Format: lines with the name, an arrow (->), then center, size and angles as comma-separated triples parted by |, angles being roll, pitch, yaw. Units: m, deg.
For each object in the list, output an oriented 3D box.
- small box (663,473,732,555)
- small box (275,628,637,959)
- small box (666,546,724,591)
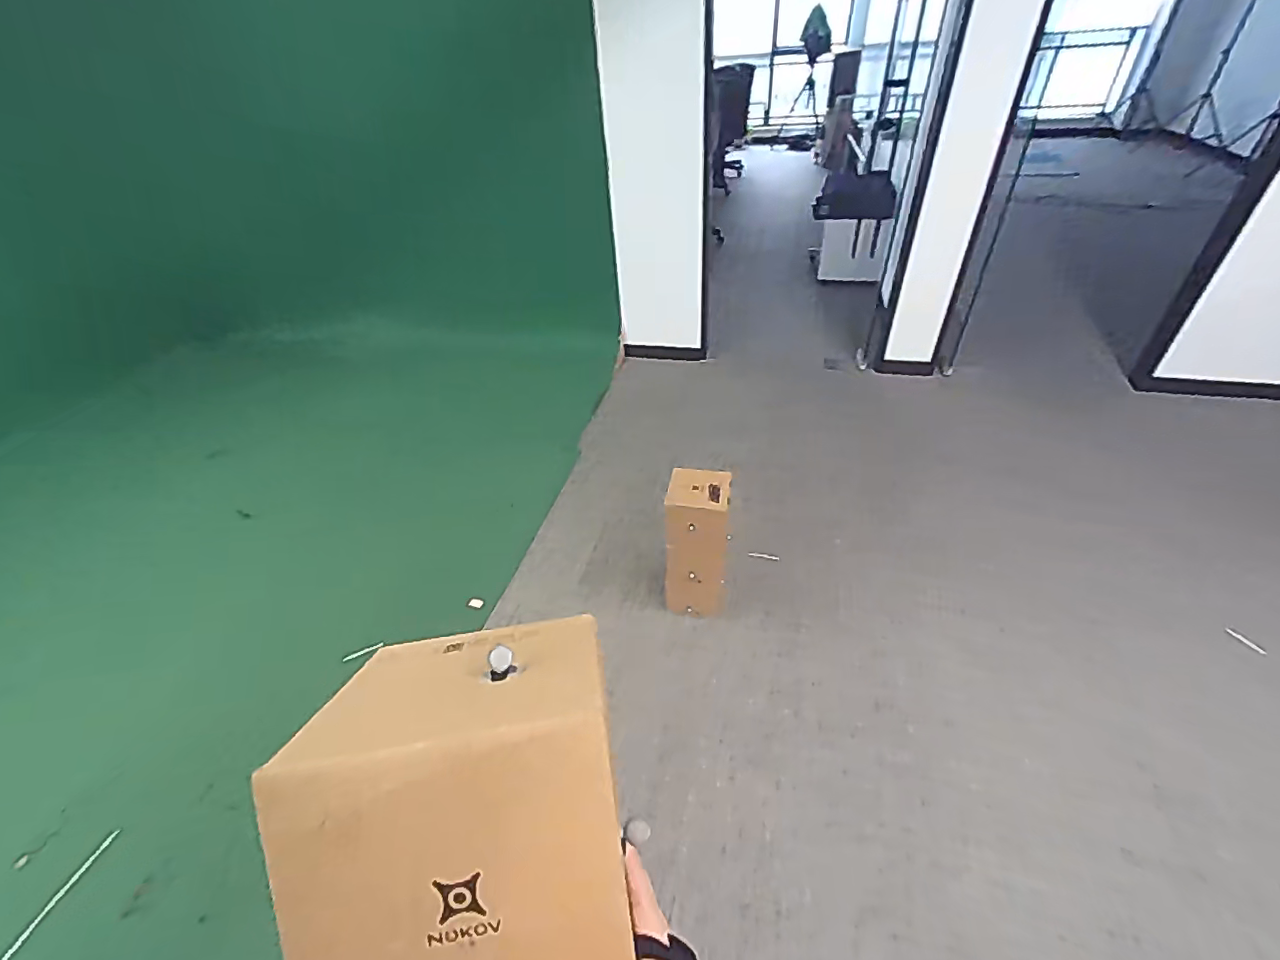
small box -> 0.172, 0.101, 1.589 | 0.179, 0.176, 0.168 | 5, 41, 13
small box -> -0.099, 0.209, 0.356 | 0.168, 0.179, 0.176 | -7, 5, -6
small box -> 0.177, 0.222, 1.700 | 0.168, 0.176, 0.179 | 4, 41, 11
